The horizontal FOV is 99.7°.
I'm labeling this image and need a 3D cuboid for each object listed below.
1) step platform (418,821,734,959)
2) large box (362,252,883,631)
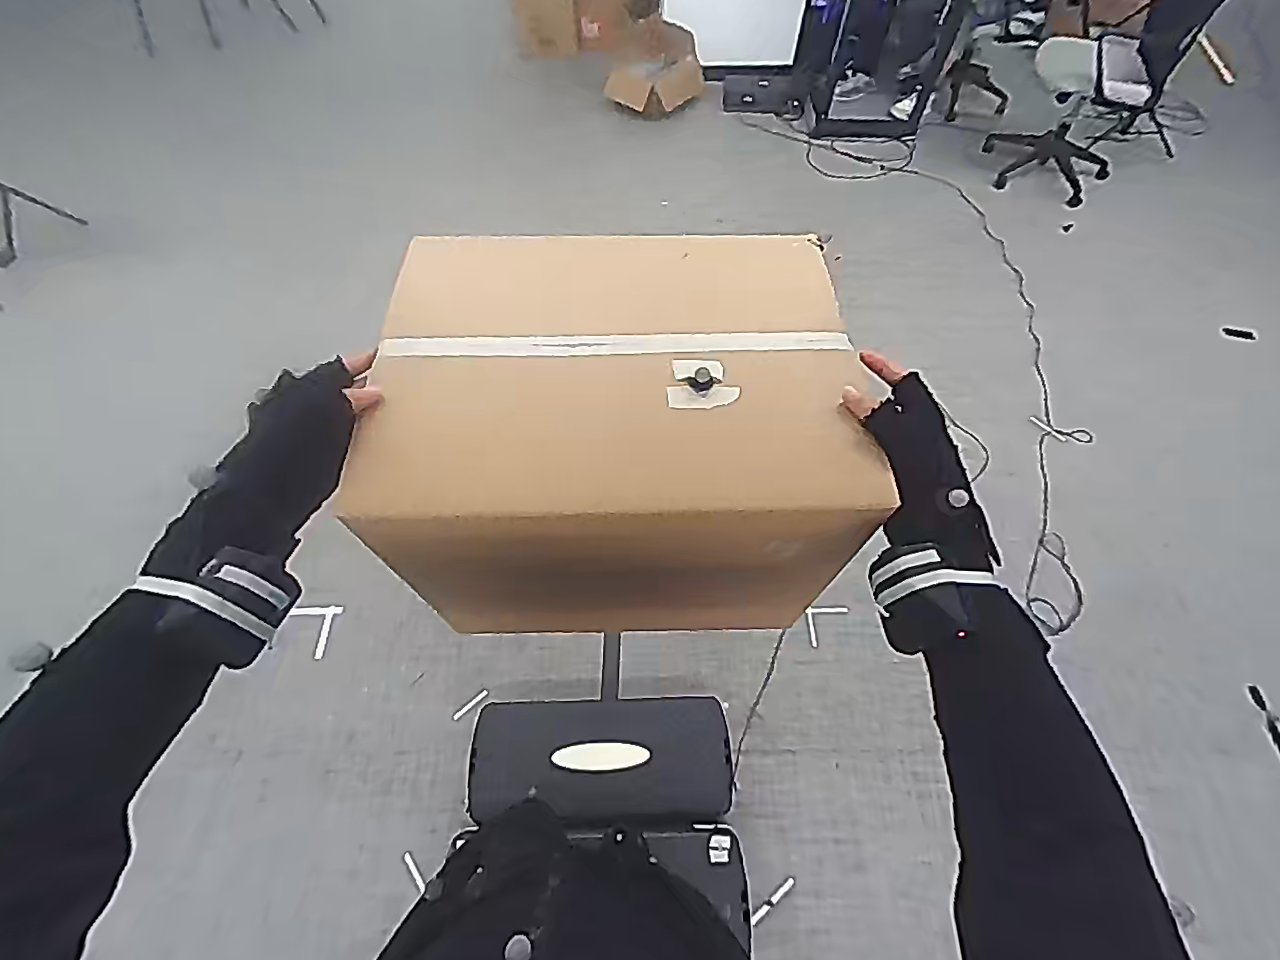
[{"bbox_3d":[-0.133,0.947,1.227,0.684,0.204,0.286,-1,59,0],"label":"step platform"},{"bbox_3d":[-0.020,-0.028,0.608,0.408,0.320,0.320,0,60,-2],"label":"large box"}]
